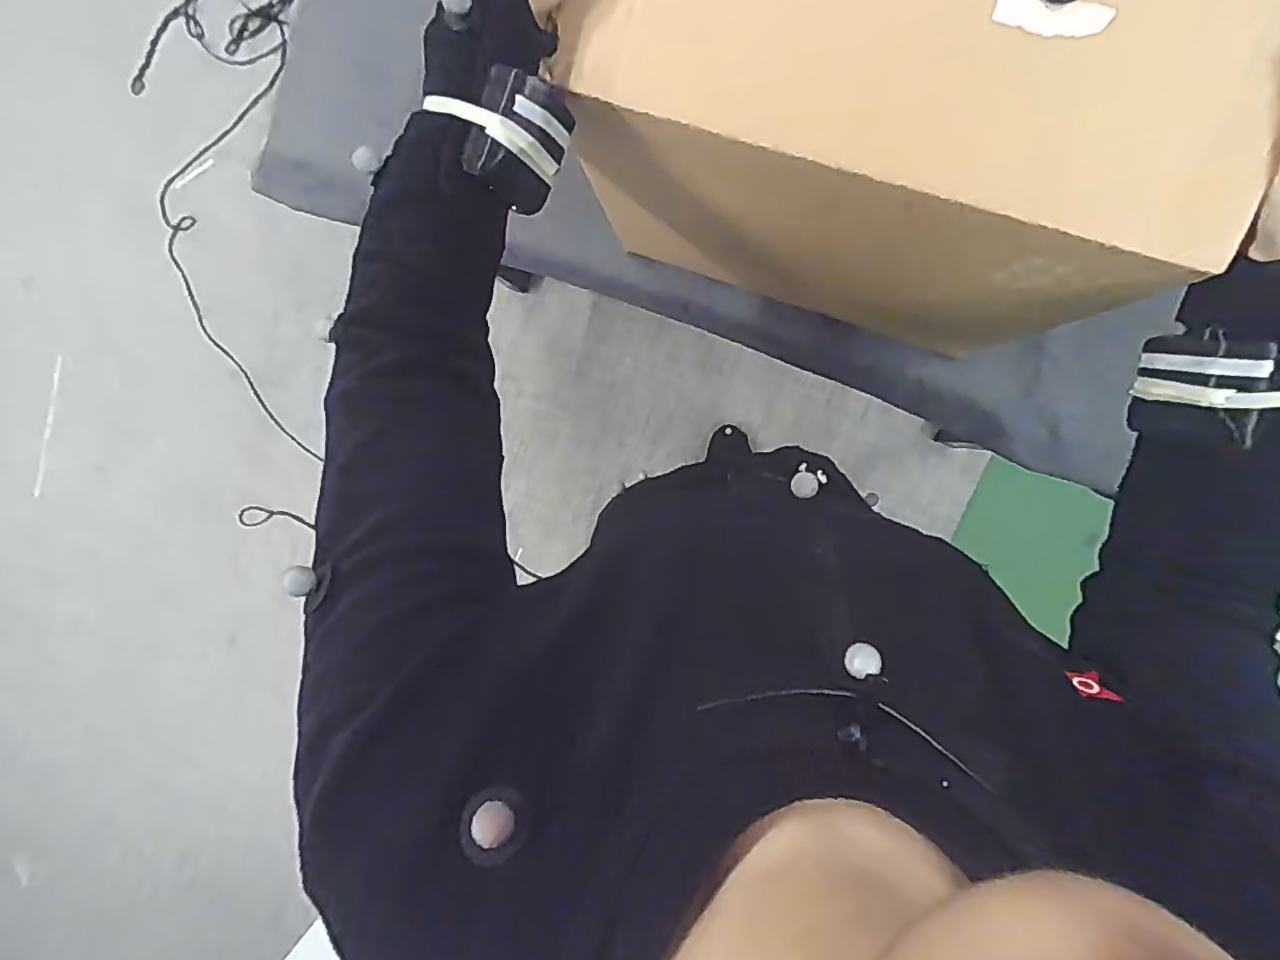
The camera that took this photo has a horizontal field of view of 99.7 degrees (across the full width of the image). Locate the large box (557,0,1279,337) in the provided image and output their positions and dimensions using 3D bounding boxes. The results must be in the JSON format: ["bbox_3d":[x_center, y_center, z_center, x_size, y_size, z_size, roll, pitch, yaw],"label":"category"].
[{"bbox_3d":[0.194,-0.346,0.448,0.408,0.320,0.320,19,98,5],"label":"large box"}]
